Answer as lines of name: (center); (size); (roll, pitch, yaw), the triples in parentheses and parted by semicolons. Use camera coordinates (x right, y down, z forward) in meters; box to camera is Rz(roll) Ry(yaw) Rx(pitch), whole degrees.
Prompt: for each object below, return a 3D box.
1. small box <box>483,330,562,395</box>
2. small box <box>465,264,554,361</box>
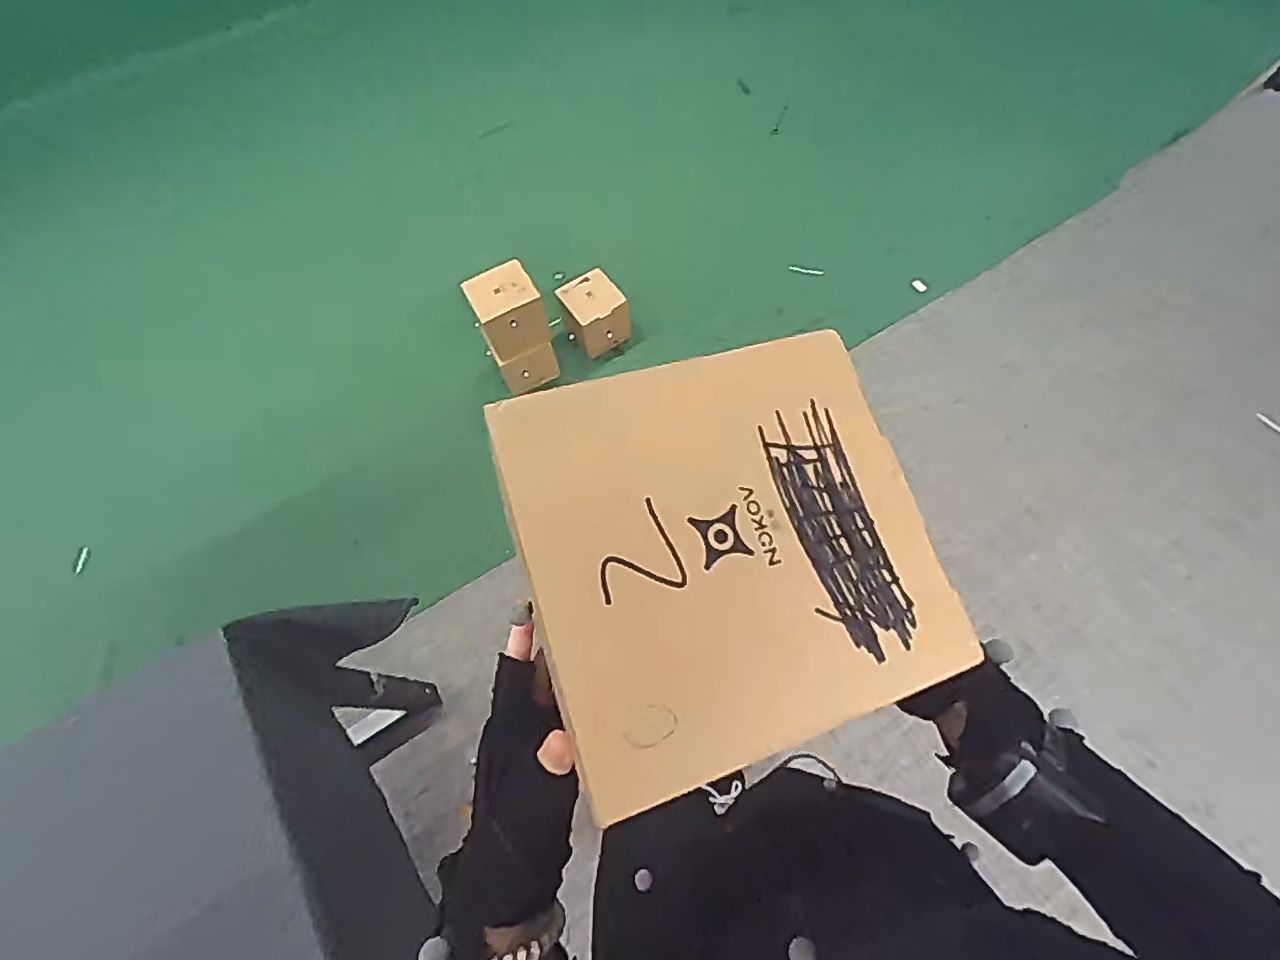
small box: (-0.362, -0.392, 1.694); (0.168, 0.176, 0.179); (-27, 66, -9)
small box: (-0.369, -0.474, 1.550); (0.179, 0.176, 0.168); (-28, 66, -9)
